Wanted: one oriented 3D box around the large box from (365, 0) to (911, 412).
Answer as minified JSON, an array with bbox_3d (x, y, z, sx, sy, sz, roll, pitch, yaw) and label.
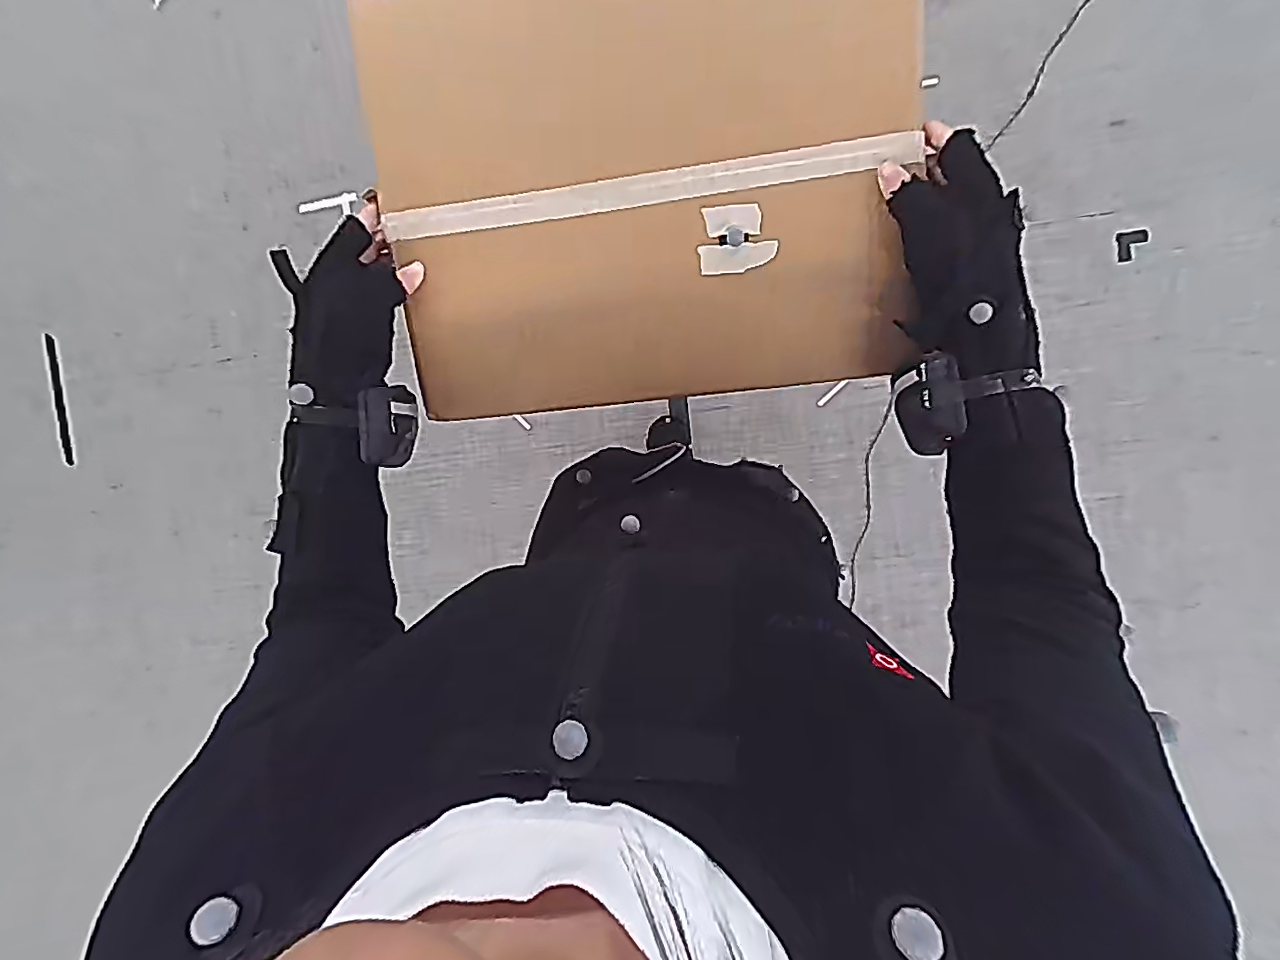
[{"bbox_3d":[0.013,-0.262,0.566,0.408,0.320,0.320,-5,104,6],"label":"large box"}]
